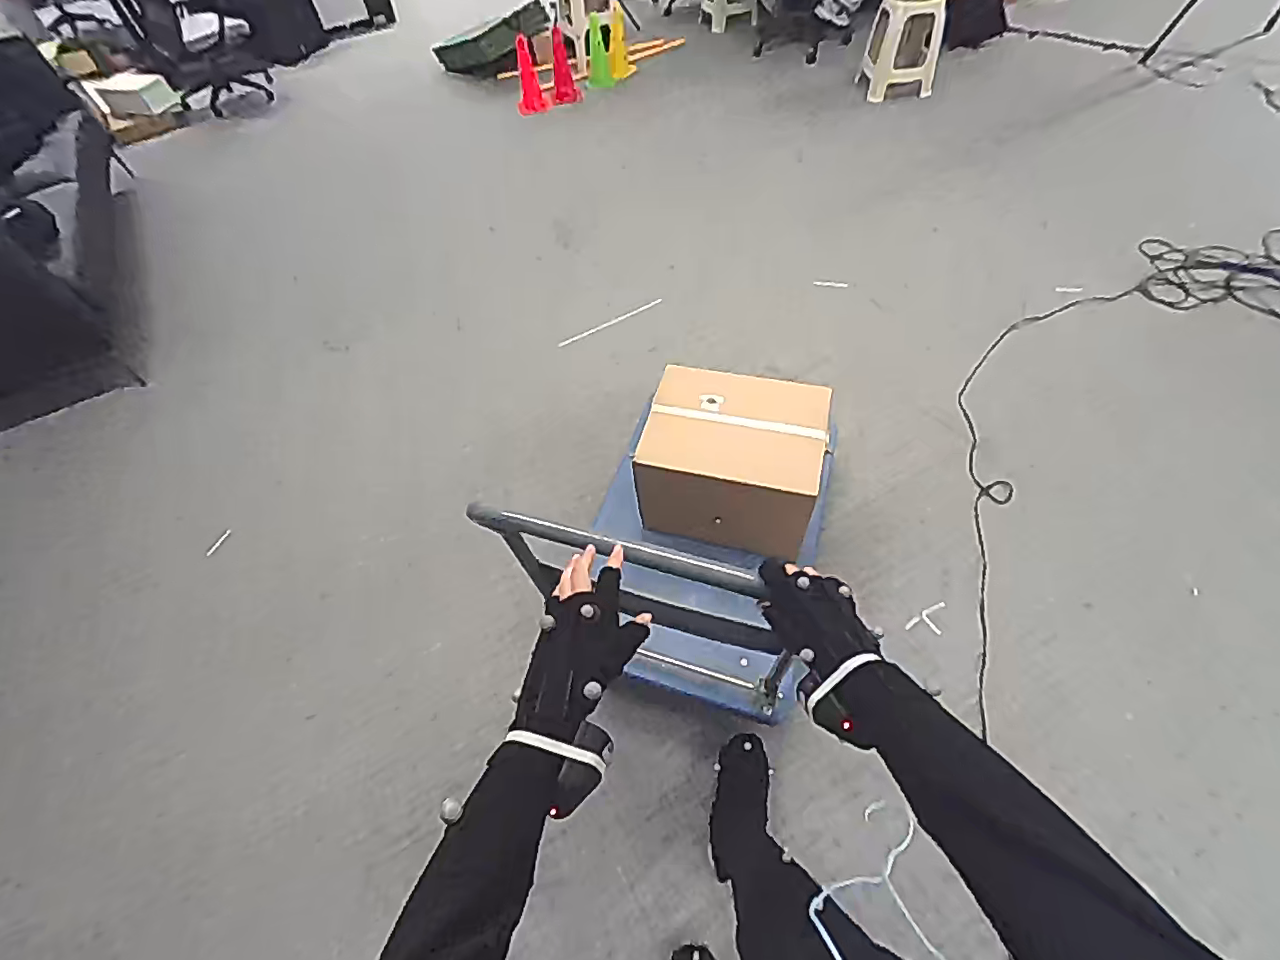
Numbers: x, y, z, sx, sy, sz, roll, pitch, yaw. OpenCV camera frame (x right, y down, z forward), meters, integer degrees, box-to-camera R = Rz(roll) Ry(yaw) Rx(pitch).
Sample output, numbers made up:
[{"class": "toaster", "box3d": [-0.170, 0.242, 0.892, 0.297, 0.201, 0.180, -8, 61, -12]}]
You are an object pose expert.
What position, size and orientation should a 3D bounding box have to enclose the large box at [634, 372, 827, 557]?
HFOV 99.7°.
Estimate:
[{"class": "large box", "box3d": [0.233, -0.036, 1.364, 0.408, 0.320, 0.320, 10, 57, 14]}]
